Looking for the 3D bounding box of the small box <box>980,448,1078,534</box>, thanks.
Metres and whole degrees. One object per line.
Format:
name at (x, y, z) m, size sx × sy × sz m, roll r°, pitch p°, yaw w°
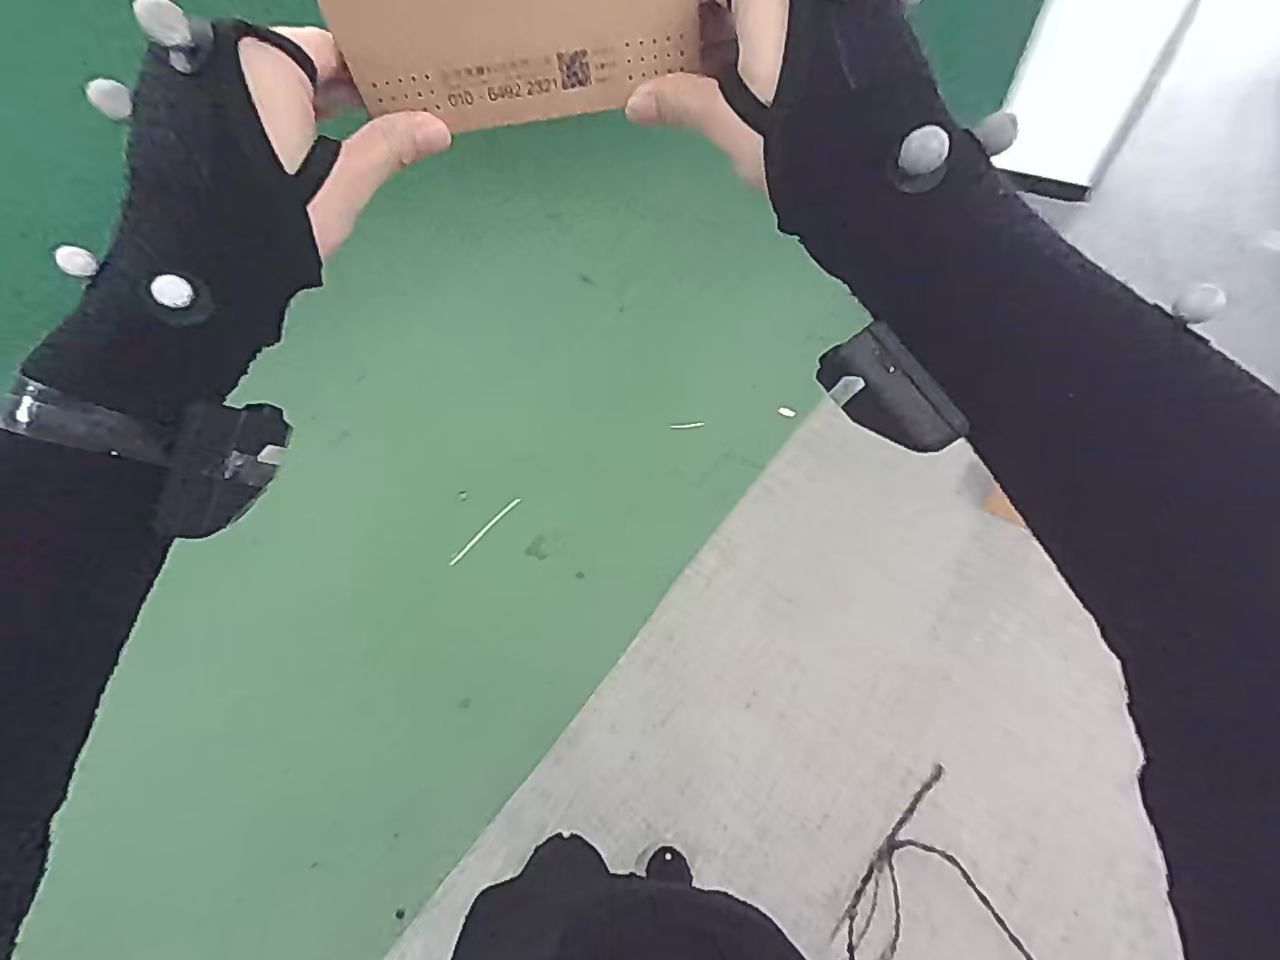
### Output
small box at (1.190, 0.038, 1.667) m, size 0.179 × 0.176 × 0.168 m, roll 30°, pitch 64°, yaw 24°
